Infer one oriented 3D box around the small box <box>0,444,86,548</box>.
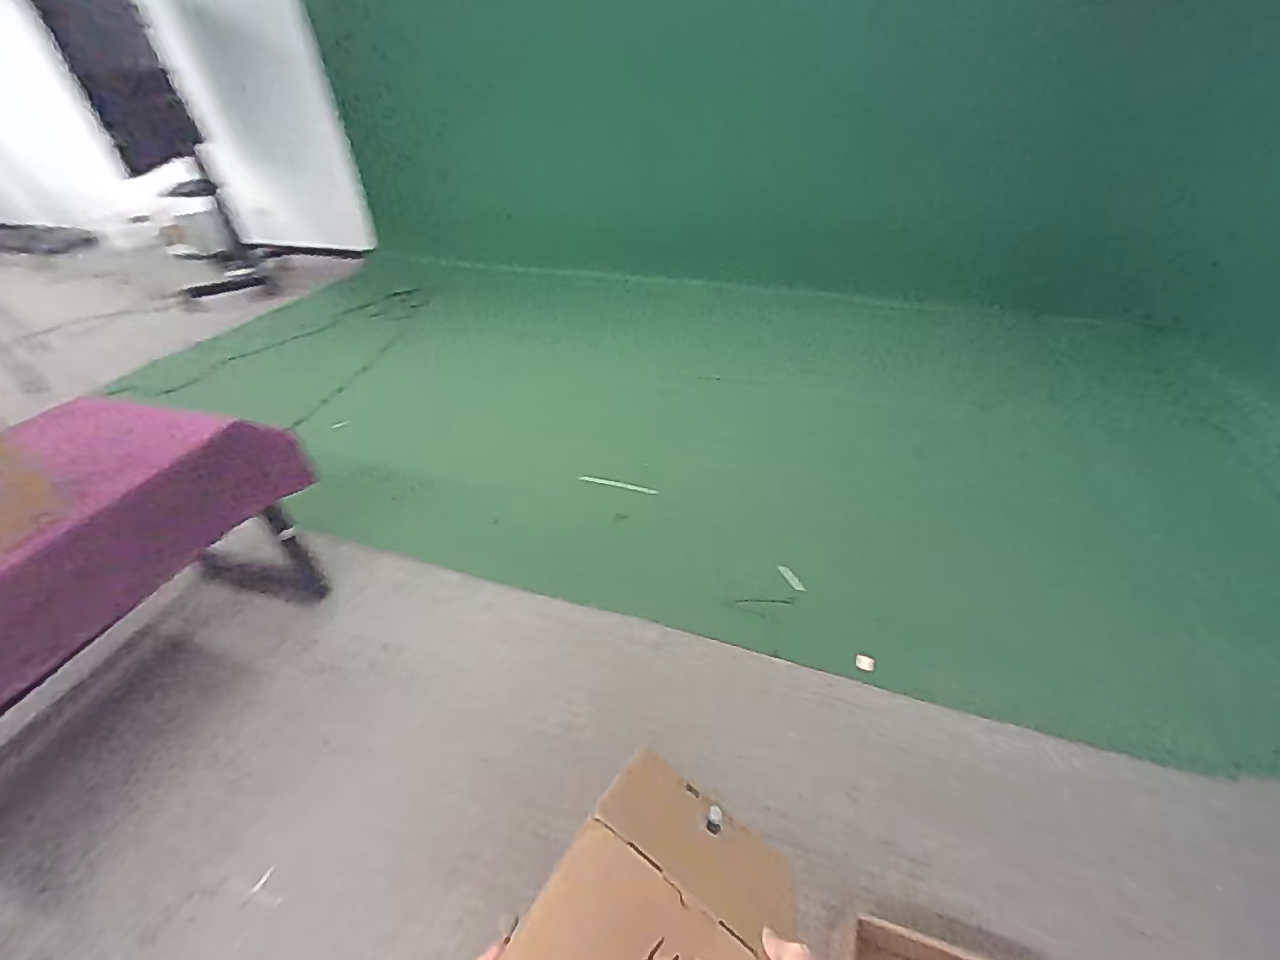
[{"bbox_3d":[-1.391,0.027,1.171,0.179,0.176,0.168,9,42,15],"label":"small box"}]
